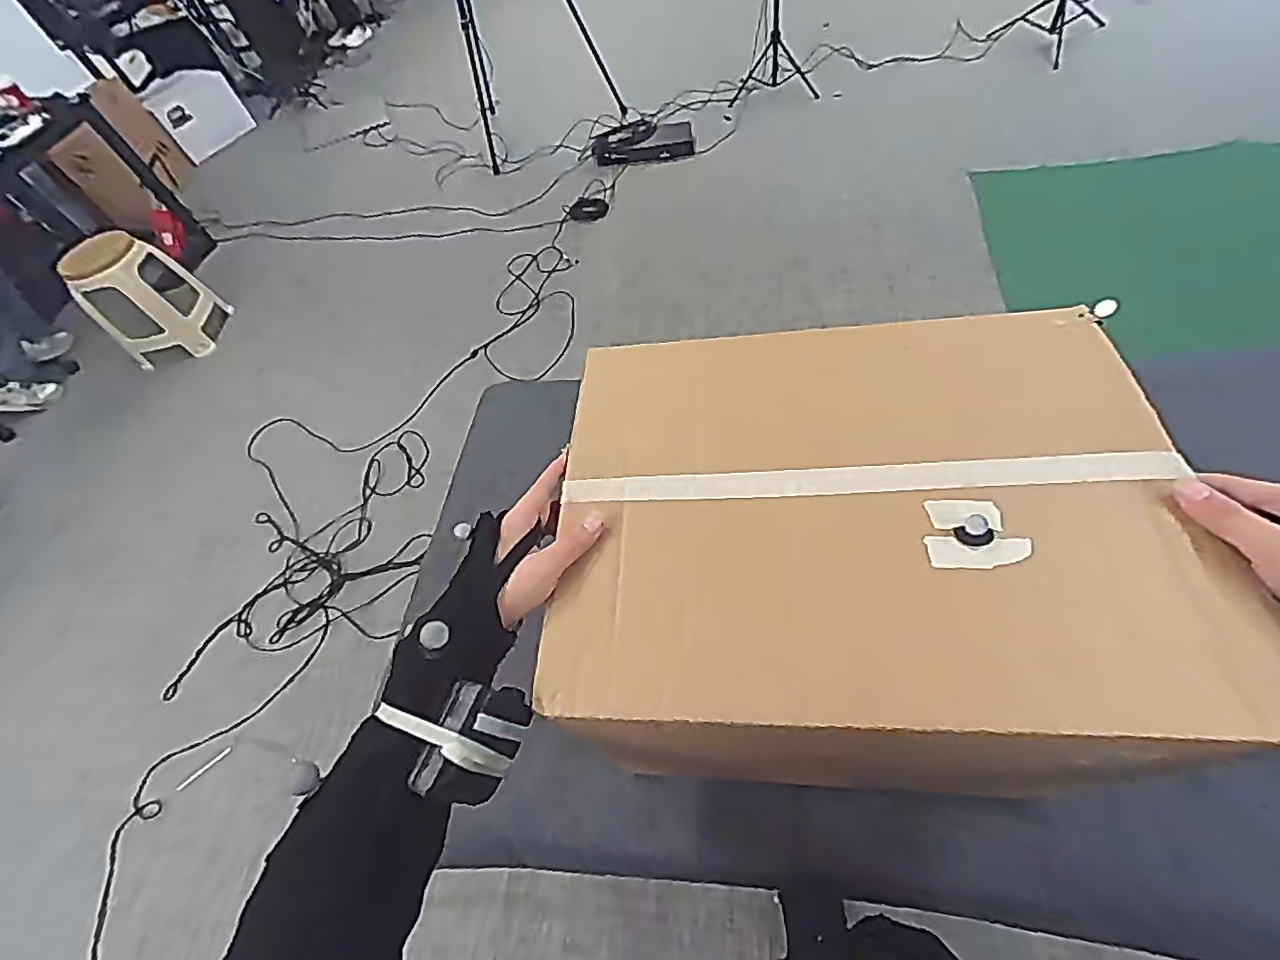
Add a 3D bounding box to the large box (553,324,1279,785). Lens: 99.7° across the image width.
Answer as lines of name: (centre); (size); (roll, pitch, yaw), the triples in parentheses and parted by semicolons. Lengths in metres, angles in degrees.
large box: (0.167, 0.090, 0.506); (0.408, 0.320, 0.320); (-2, 56, 9)
